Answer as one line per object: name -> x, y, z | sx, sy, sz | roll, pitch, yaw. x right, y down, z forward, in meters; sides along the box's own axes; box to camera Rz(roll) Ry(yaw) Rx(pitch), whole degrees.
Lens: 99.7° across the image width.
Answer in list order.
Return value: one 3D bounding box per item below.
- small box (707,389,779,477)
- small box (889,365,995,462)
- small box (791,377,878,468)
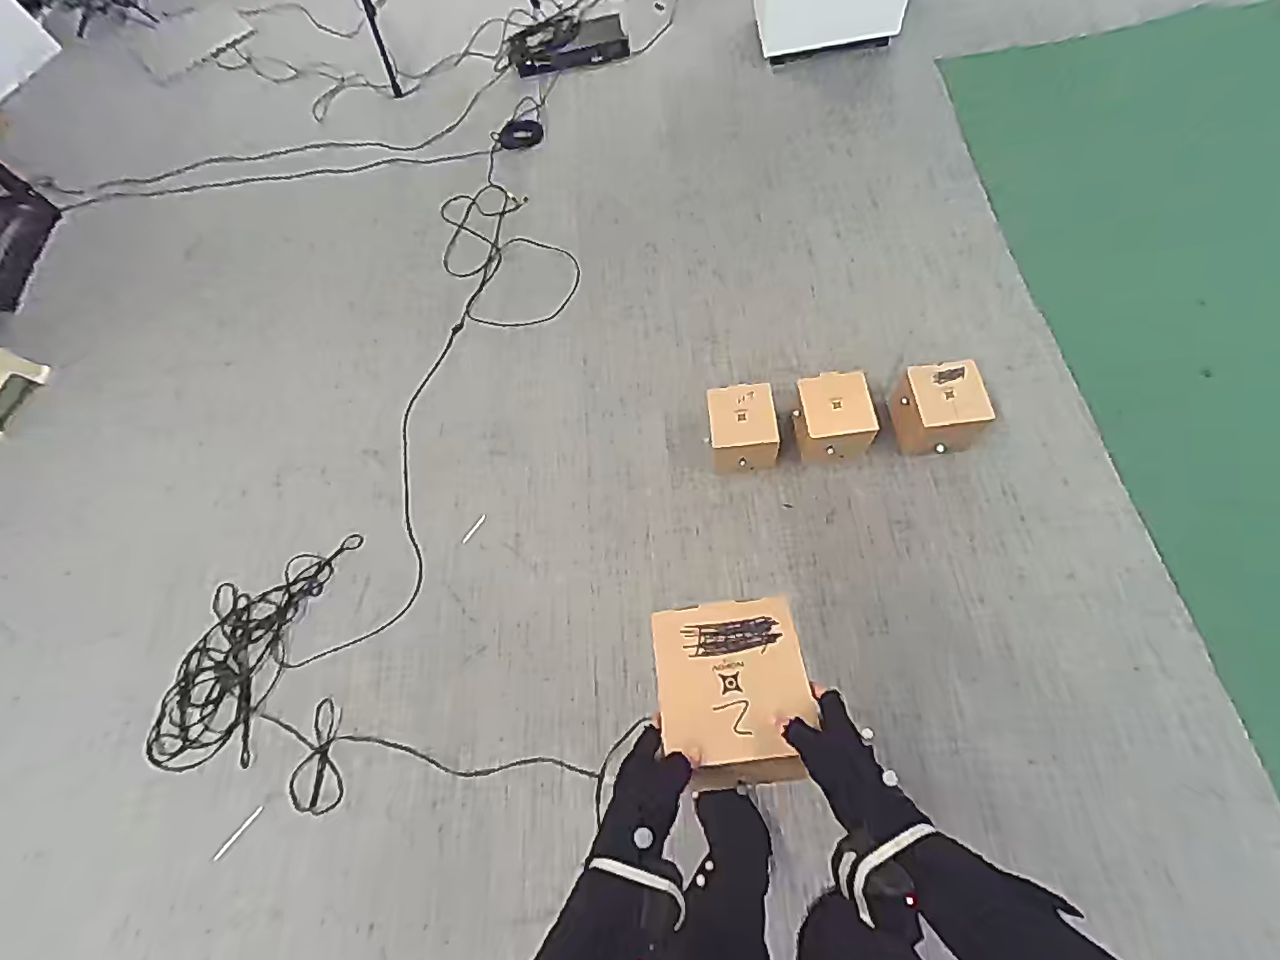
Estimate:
small box -> 0.270, -0.117, 1.434 | 0.168, 0.176, 0.179 | -6, 65, 6
small box -> 0.761, -0.167, 1.384 | 0.168, 0.176, 0.179 | -7, 66, 5
small box -> 0.500, -0.142, 1.413 | 0.168, 0.176, 0.179 | -7, 65, 5
